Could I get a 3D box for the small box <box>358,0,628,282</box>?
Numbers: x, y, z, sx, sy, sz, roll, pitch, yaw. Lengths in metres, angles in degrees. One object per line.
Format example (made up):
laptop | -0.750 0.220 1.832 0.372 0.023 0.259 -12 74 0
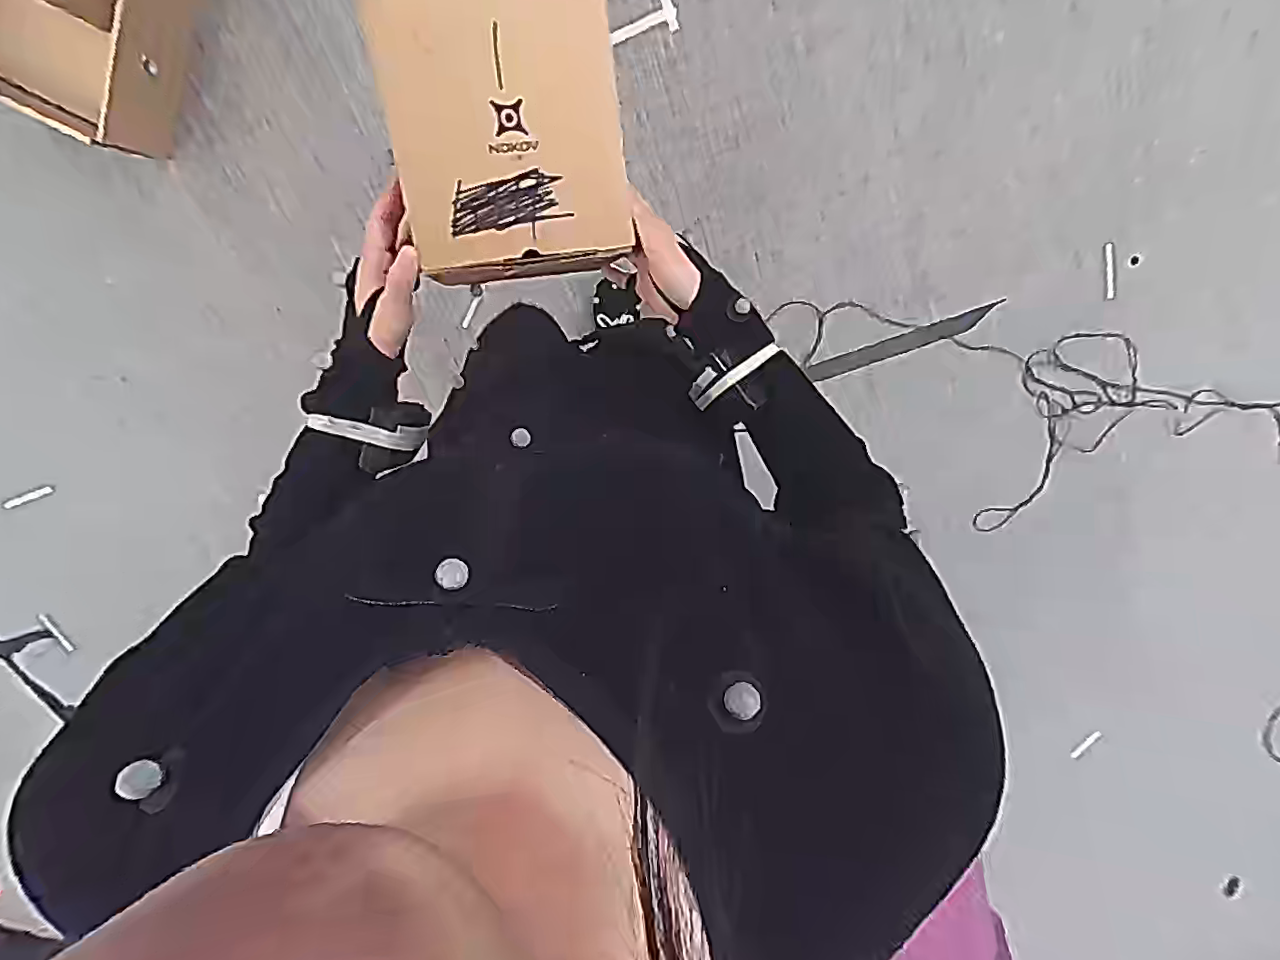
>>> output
small box | -0.114 -0.271 0.464 0.168 0.176 0.179 -11 107 -11
